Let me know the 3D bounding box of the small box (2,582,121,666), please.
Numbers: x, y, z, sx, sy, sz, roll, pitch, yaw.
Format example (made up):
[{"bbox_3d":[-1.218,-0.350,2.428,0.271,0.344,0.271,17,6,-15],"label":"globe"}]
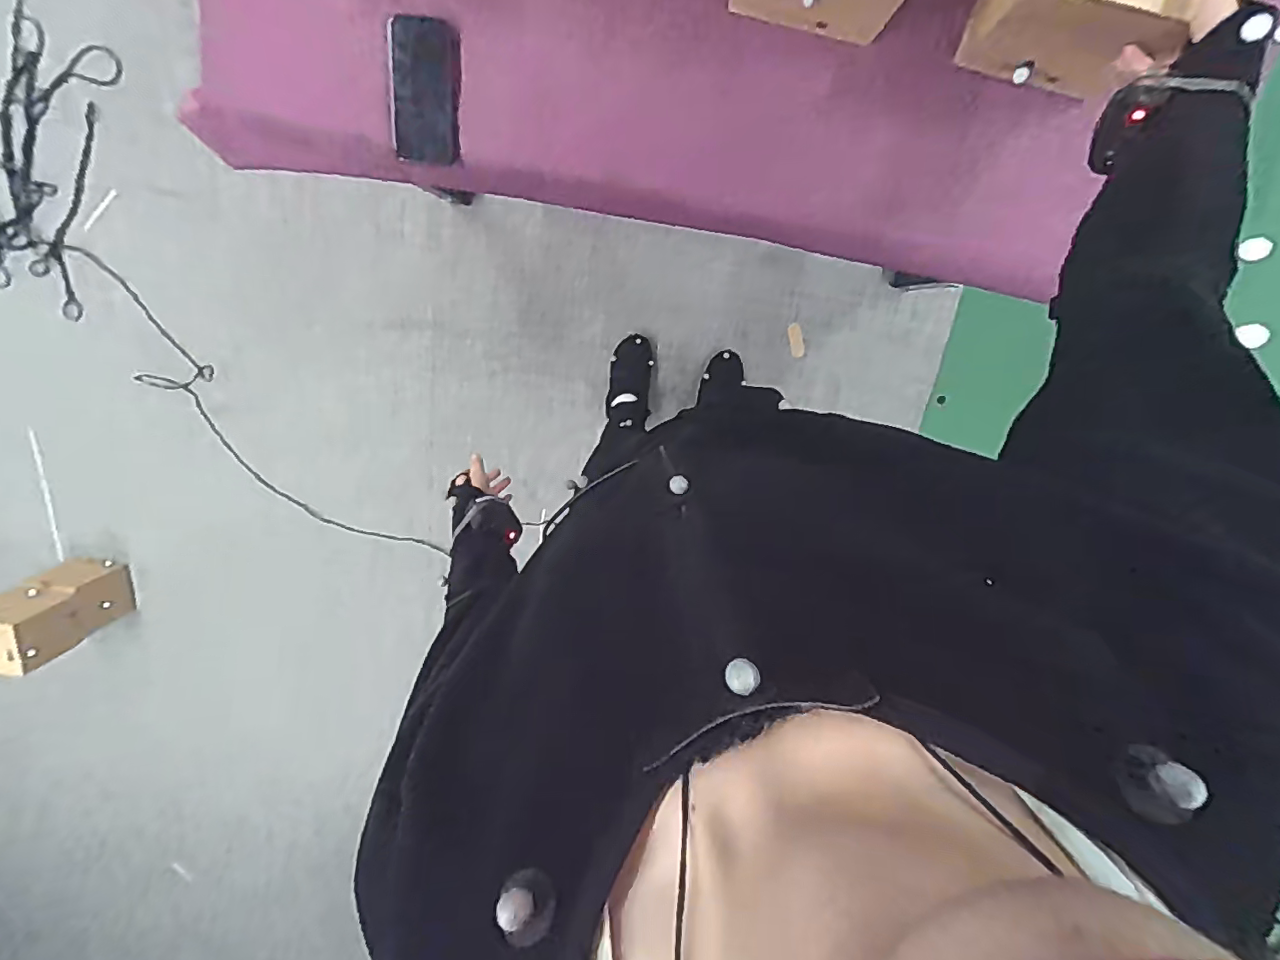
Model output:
[{"bbox_3d":[-1.724,0.426,1.622,0.168,0.176,0.179,7,108,0],"label":"small box"}]

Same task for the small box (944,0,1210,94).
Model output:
[{"bbox_3d":[0.423,-0.510,0.510,0.168,0.176,0.179,14,108,3],"label":"small box"}]
